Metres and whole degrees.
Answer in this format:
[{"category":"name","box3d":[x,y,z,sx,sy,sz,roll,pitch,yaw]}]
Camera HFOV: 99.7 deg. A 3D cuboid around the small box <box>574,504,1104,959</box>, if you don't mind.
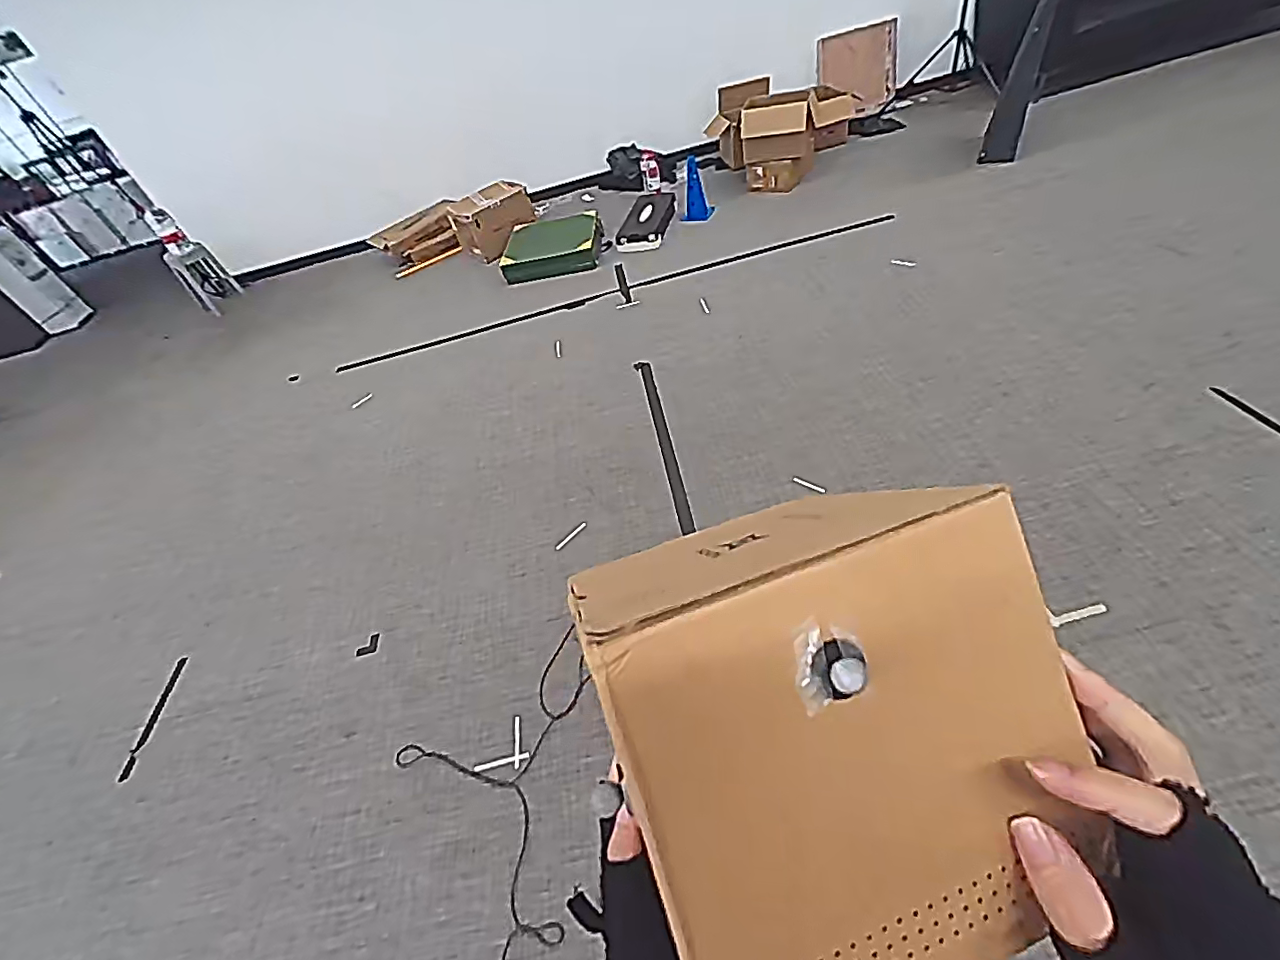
[{"category":"small box","box3d":[0.076,0.119,0.274,0.179,0.168,0.176,-17,90,-10]}]
